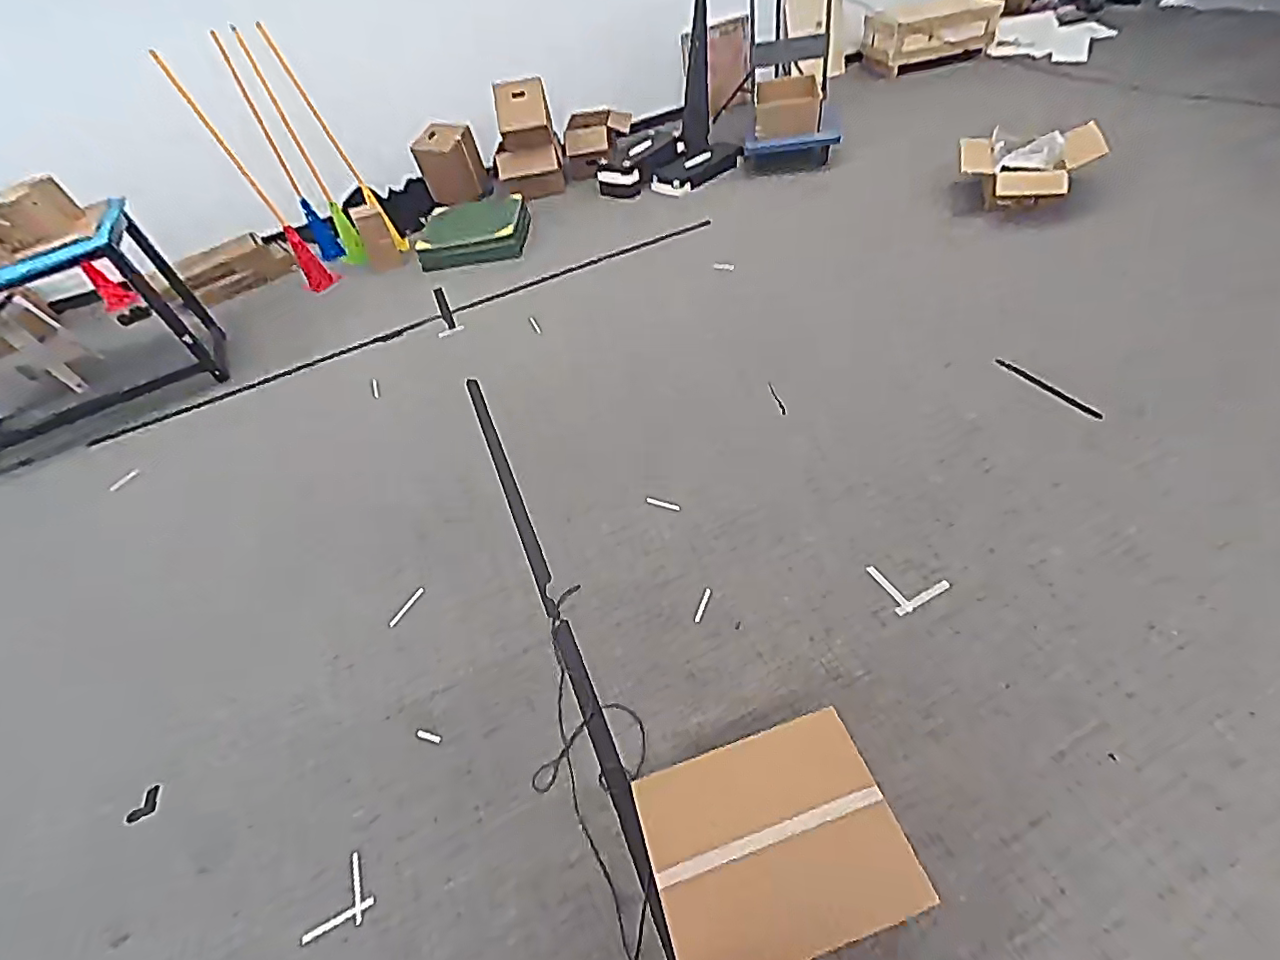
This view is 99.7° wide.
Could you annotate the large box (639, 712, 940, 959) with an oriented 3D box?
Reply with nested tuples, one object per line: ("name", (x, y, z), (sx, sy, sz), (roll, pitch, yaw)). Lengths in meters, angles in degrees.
("large box", (0.248, 0.703, 1.004), (0.408, 0.320, 0.320), (-18, 48, -5))
